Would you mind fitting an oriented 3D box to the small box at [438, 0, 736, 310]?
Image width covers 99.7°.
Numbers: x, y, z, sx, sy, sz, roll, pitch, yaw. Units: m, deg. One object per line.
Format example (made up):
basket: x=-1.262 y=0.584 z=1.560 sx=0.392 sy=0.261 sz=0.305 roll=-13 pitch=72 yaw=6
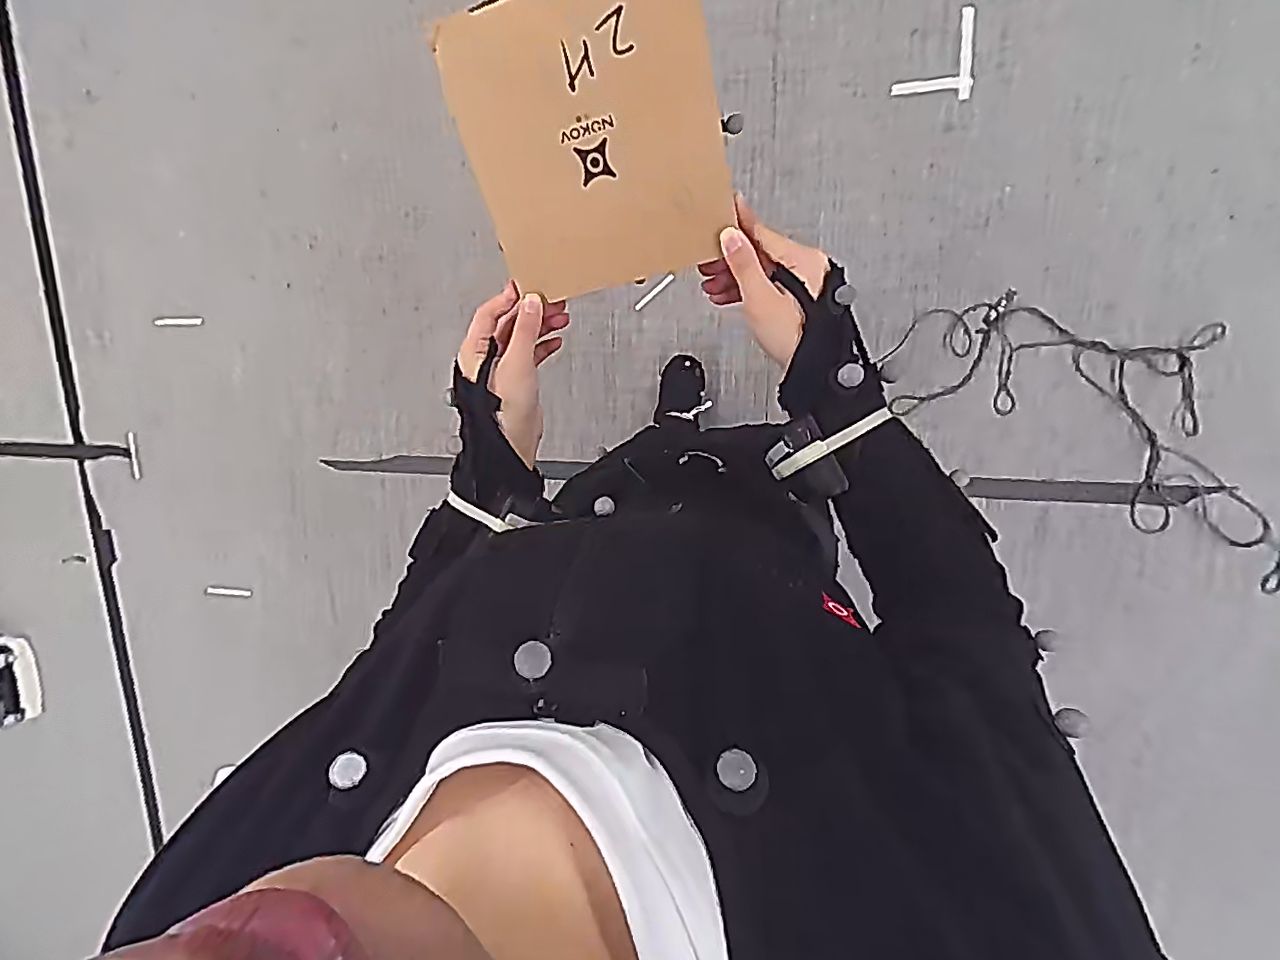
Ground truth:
small box: x=-0.018 y=-0.254 z=0.423 sx=0.168 sy=0.176 sz=0.179 roll=-9 pitch=118 yaw=12
